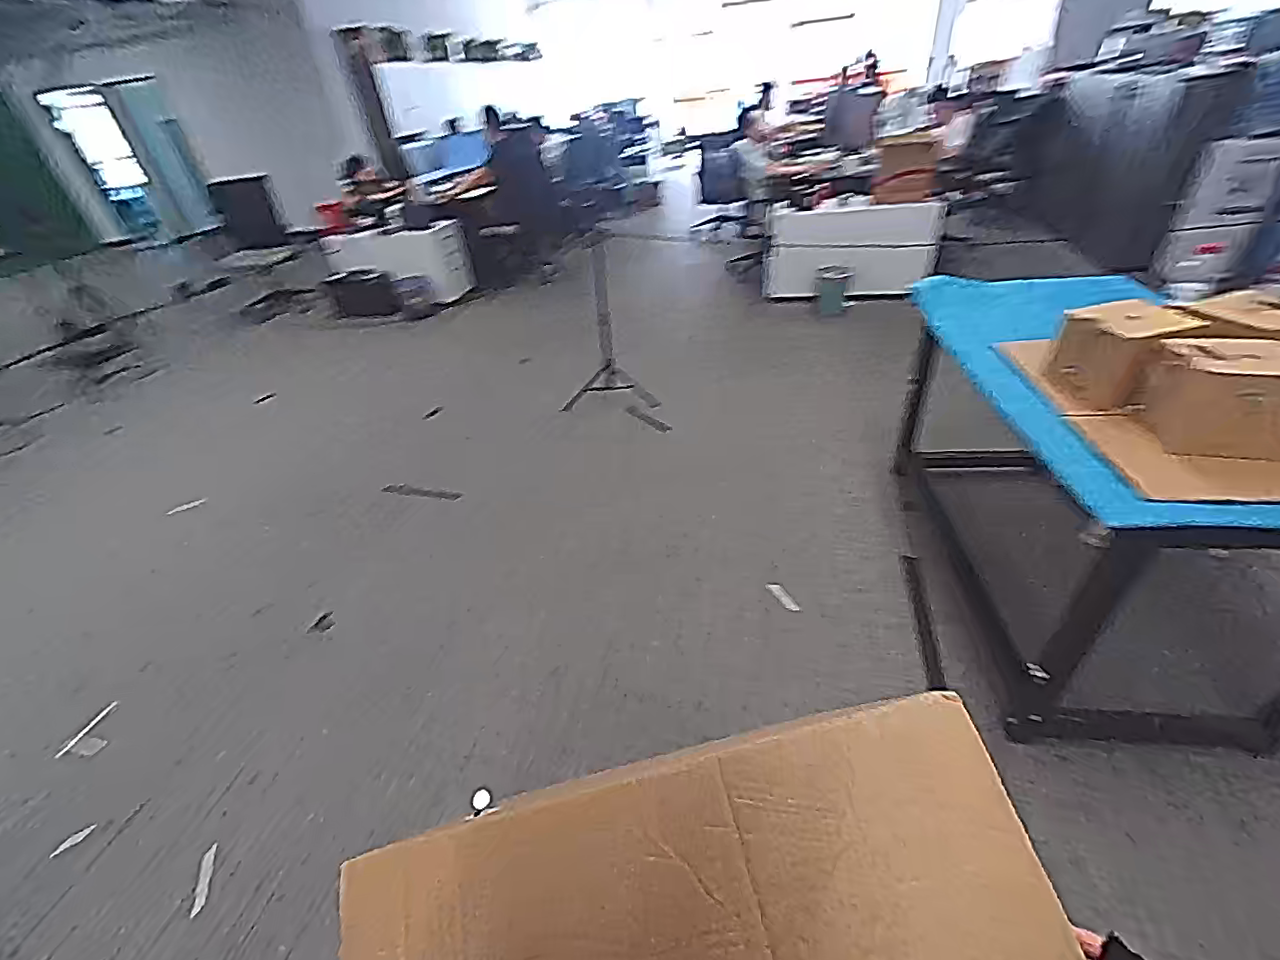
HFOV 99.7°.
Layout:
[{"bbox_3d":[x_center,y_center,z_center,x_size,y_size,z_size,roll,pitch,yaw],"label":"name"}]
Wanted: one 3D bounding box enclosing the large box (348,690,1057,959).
[{"bbox_3d":[0.053,0.393,0.424,0.408,0.320,0.320,-15,66,-5],"label":"large box"}]
